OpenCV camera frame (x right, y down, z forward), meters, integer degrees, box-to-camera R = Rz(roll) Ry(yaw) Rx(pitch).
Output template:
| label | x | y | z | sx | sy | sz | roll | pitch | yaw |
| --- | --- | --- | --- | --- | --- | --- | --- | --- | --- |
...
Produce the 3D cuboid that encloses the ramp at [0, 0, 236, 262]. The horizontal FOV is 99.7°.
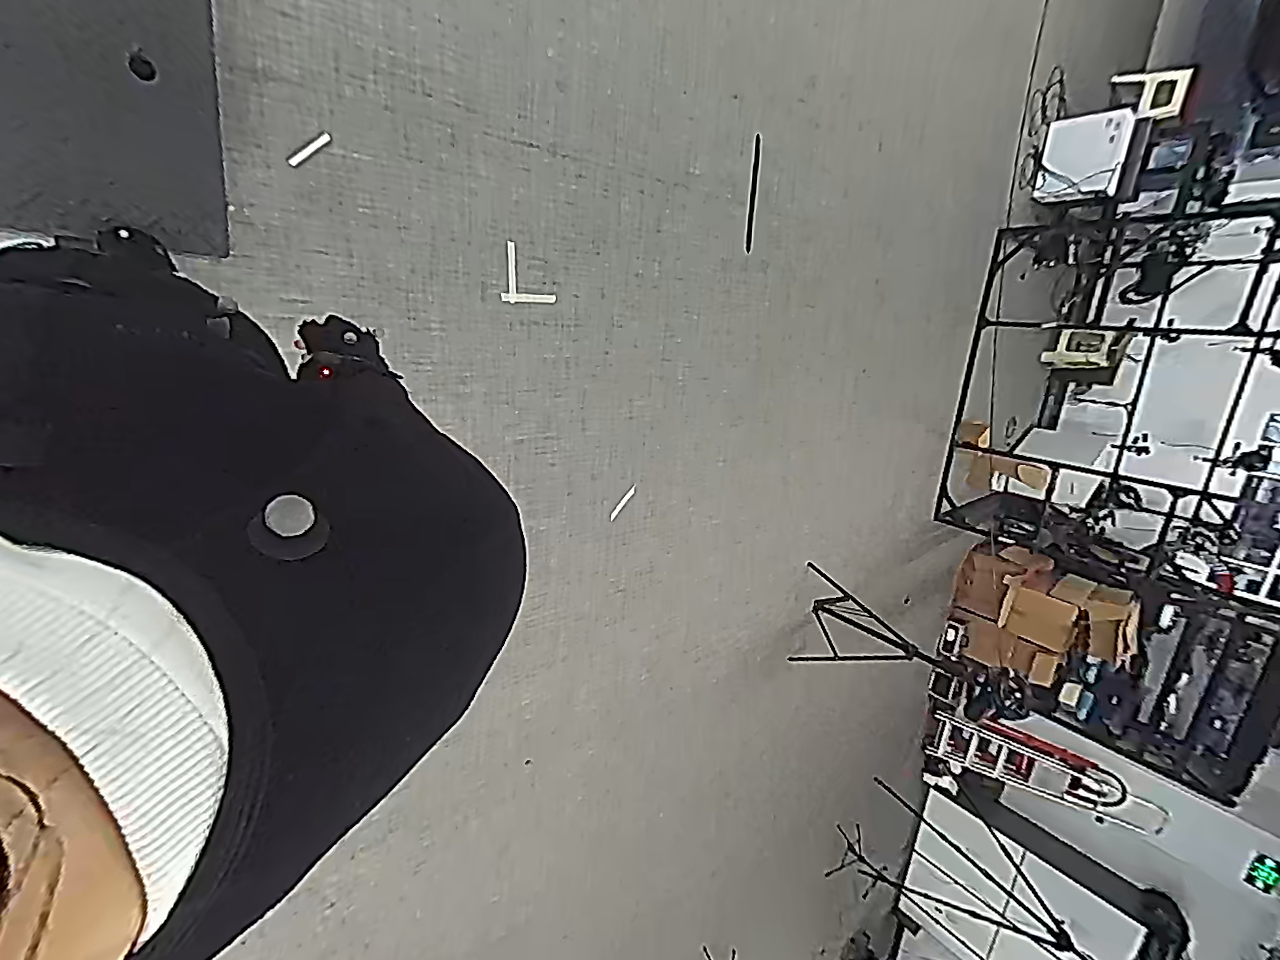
| label | x | y | z | sx | sy | sz | roll | pitch | yaw |
| --- | --- | --- | --- | --- | --- | --- | --- | --- | --- |
| ramp | -0.937 | -0.873 | 0.786 | 0.509 | 0.206 | 0.991 | -11 | 111 | -39 |
